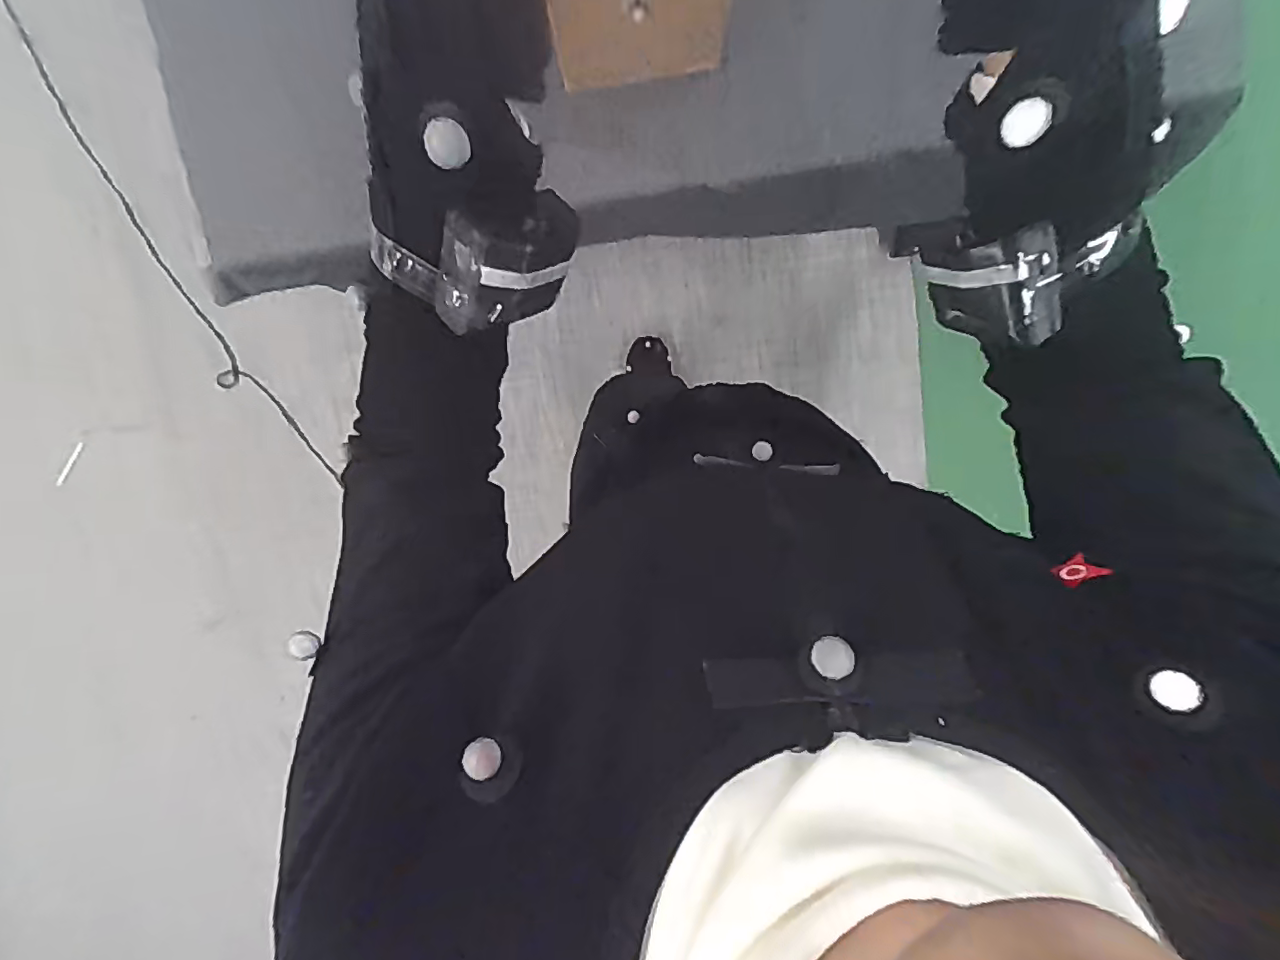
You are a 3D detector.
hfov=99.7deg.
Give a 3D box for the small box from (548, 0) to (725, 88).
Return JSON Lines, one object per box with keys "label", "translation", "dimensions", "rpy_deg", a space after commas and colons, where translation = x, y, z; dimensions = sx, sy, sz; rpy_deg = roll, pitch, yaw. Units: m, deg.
{"label": "small box", "translation": [-0.010, -0.525, 0.532], "dimensions": [0.179, 0.176, 0.168], "rpy_deg": [-9, 99, 1]}
